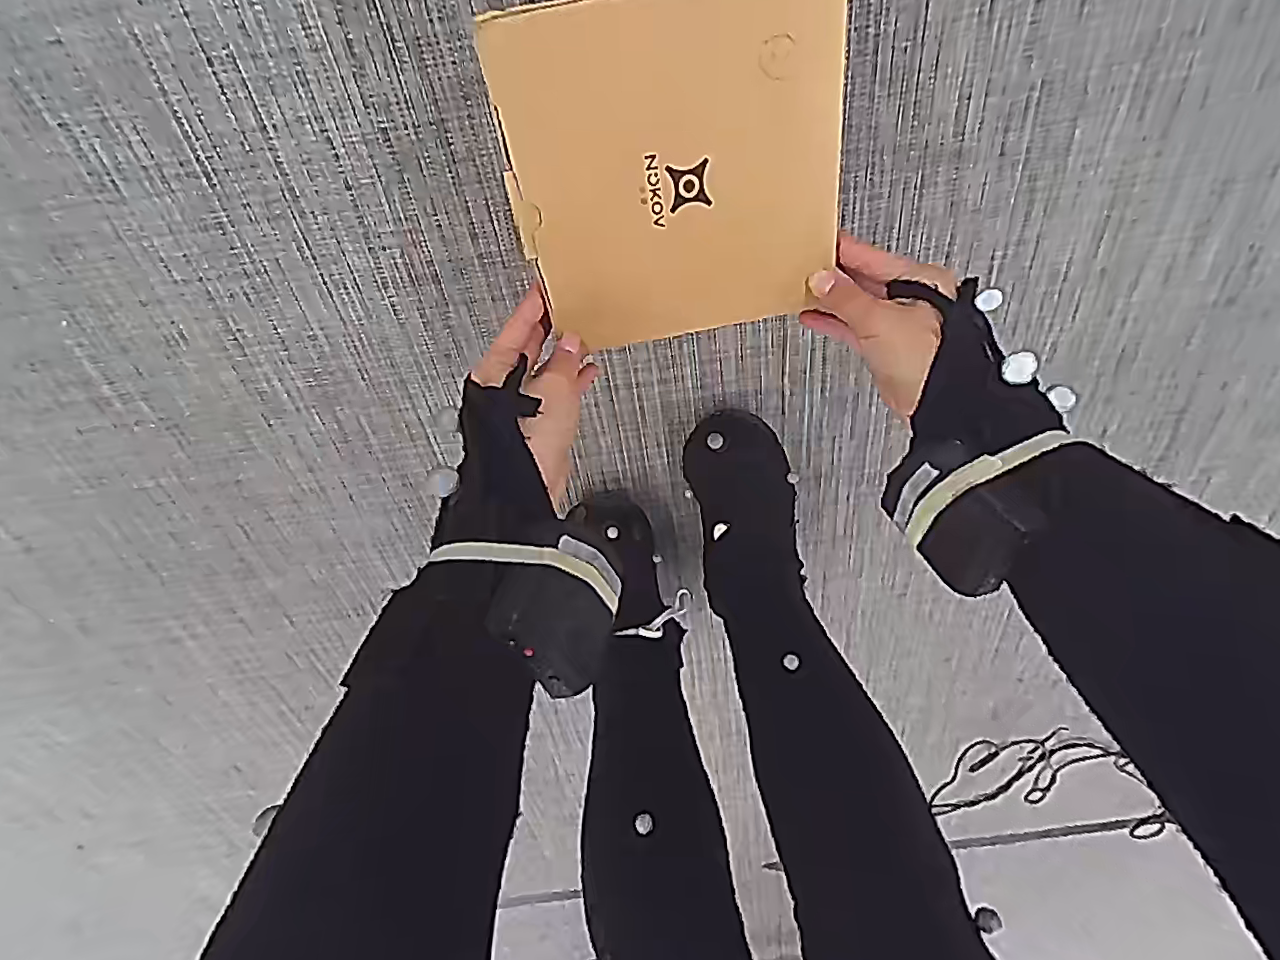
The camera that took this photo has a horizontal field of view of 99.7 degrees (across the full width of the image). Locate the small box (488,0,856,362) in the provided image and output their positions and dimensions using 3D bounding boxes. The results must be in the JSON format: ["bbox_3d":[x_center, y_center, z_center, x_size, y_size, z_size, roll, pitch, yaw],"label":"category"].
[{"bbox_3d":[0.018,-0.201,0.357,0.179,0.176,0.168,-10,127,2],"label":"small box"}]
